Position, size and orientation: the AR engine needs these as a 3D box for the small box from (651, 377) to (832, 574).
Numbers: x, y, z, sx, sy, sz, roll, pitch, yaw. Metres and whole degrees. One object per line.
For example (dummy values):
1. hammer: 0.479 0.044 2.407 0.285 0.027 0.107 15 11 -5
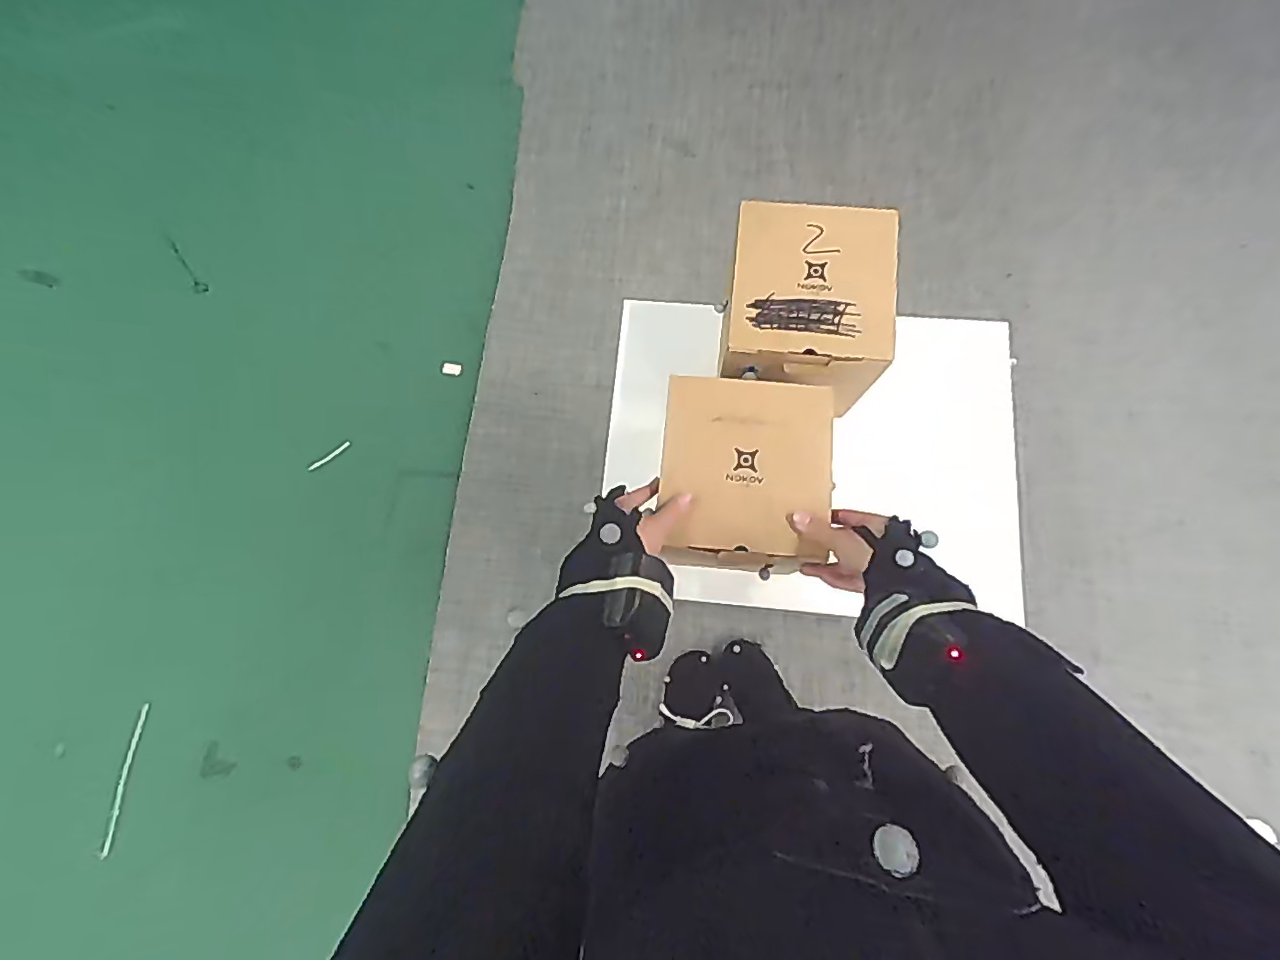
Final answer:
1. small box: 0.103 0.006 0.595 0.168 0.176 0.179 5 75 3
